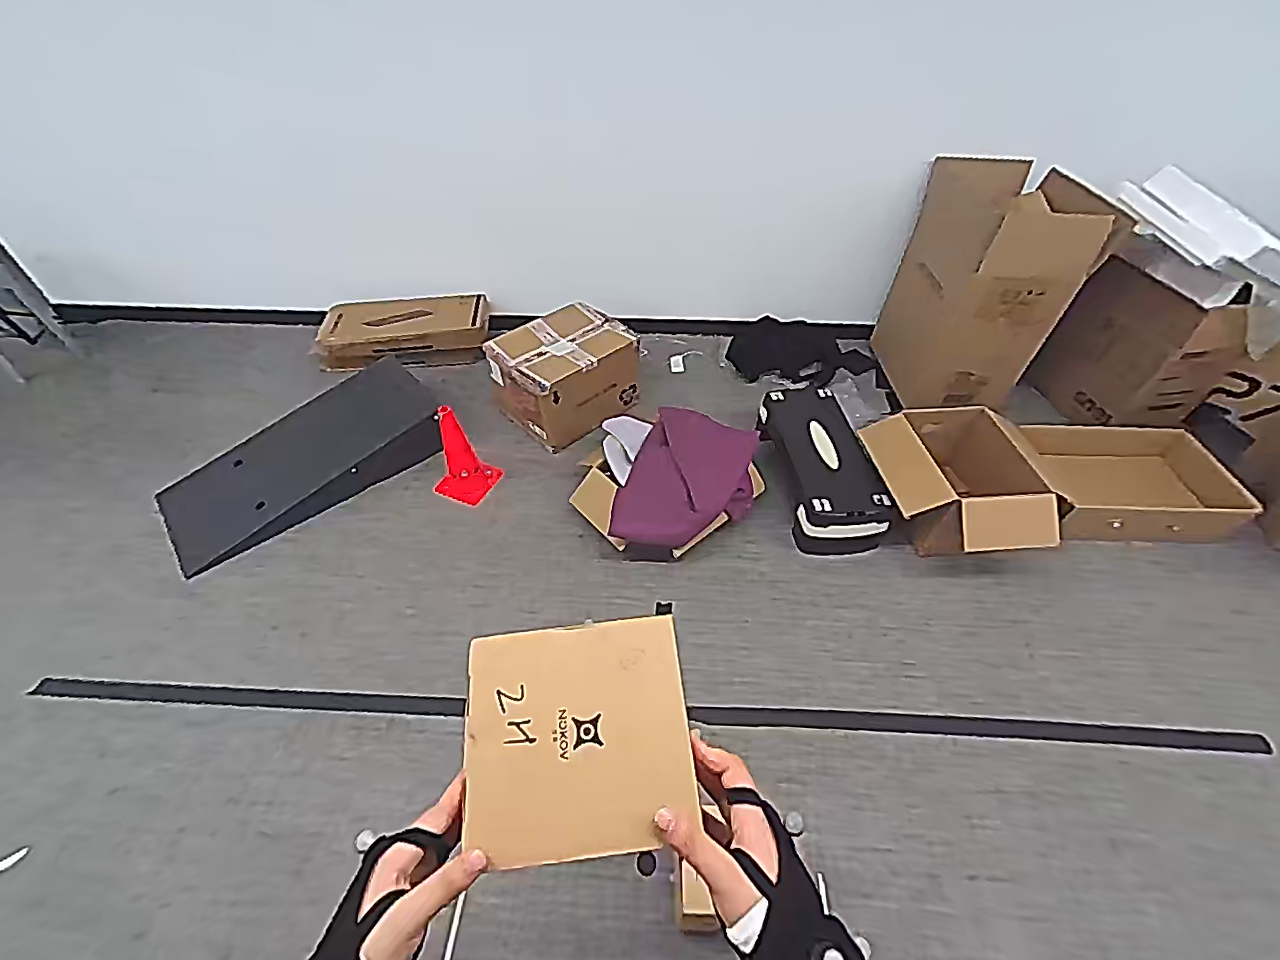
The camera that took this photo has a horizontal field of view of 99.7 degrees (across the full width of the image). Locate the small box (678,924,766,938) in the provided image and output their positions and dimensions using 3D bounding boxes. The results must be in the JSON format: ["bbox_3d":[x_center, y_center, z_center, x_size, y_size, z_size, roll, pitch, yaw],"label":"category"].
[{"bbox_3d":[0.163,0.854,1.145,0.168,0.176,0.179,0,47,0],"label":"small box"}]

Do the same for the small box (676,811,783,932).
[{"bbox_3d":[0.157,0.742,1.022,0.179,0.176,0.168,1,46,0],"label":"small box"}]

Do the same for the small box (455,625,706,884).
[{"bbox_3d":[-0.046,0.237,0.478,0.179,0.176,0.168,-6,59,-1],"label":"small box"}]
